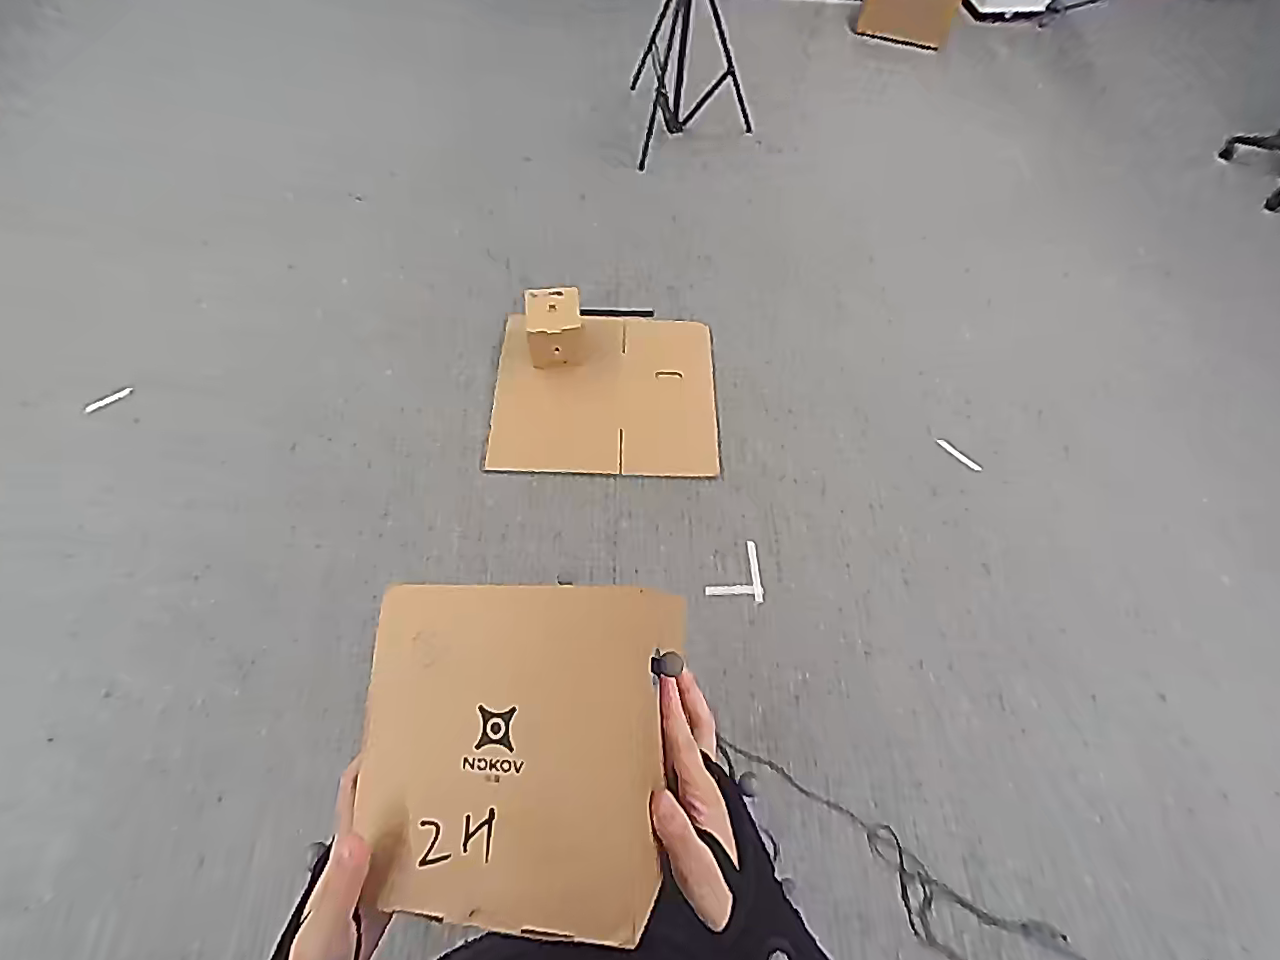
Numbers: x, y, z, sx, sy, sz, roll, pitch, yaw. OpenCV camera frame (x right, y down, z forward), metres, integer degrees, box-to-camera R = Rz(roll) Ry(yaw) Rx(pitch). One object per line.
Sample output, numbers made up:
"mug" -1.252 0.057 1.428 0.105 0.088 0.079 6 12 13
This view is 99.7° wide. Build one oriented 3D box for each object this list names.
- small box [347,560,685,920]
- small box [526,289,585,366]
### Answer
"small box" -0.062 0.154 0.376 0.168 0.176 0.179 -2 75 12
"small box" -0.266 -0.478 1.722 0.168 0.176 0.179 -5 64 -6
